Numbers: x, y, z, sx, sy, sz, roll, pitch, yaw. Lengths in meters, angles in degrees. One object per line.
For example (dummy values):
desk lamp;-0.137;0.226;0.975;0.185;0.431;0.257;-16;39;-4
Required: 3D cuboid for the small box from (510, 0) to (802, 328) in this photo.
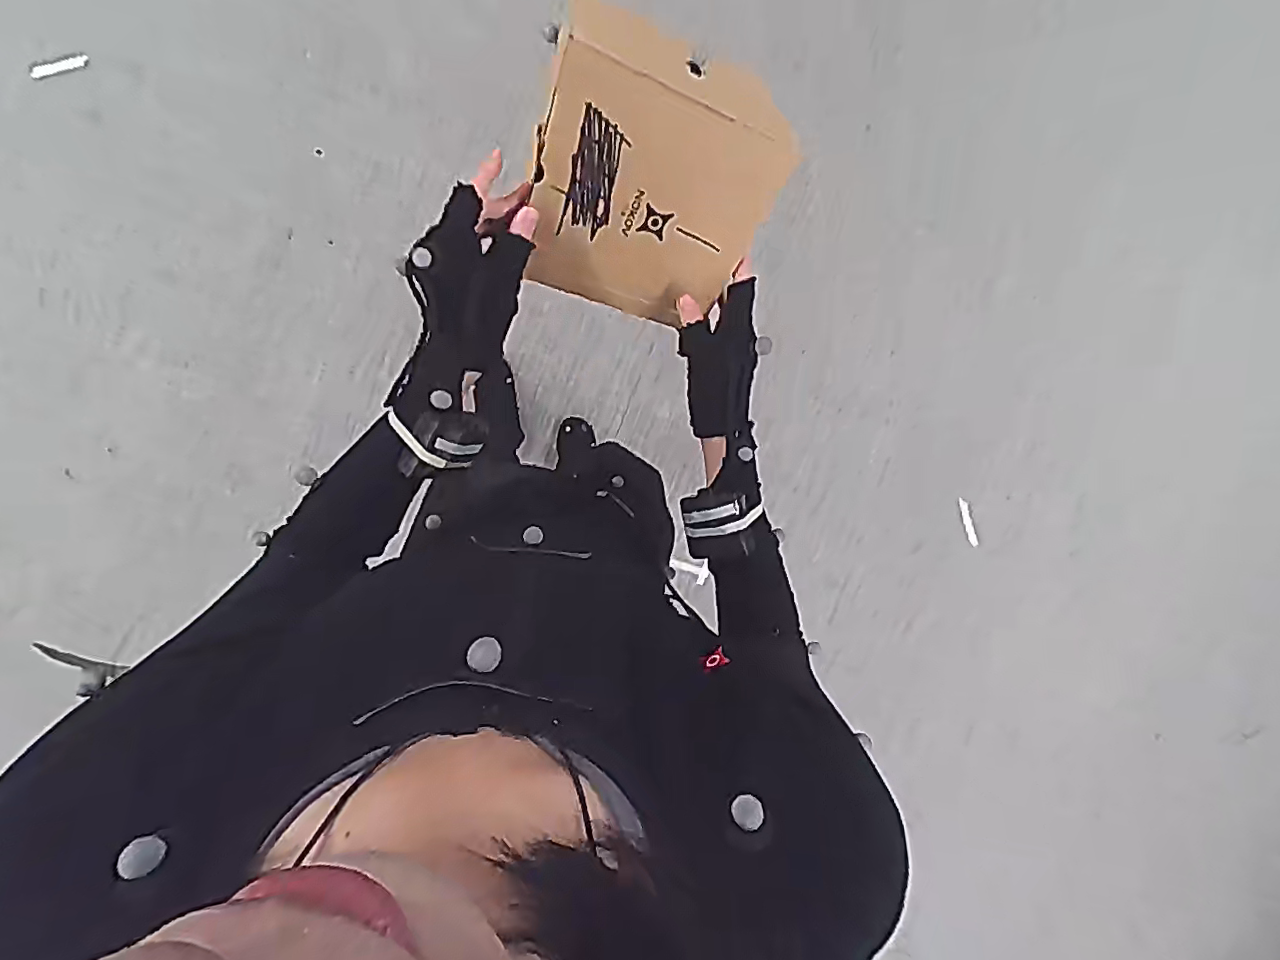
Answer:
small box;0.000;-0.265;0.457;0.179;0.176;0.168;12;138;-19
